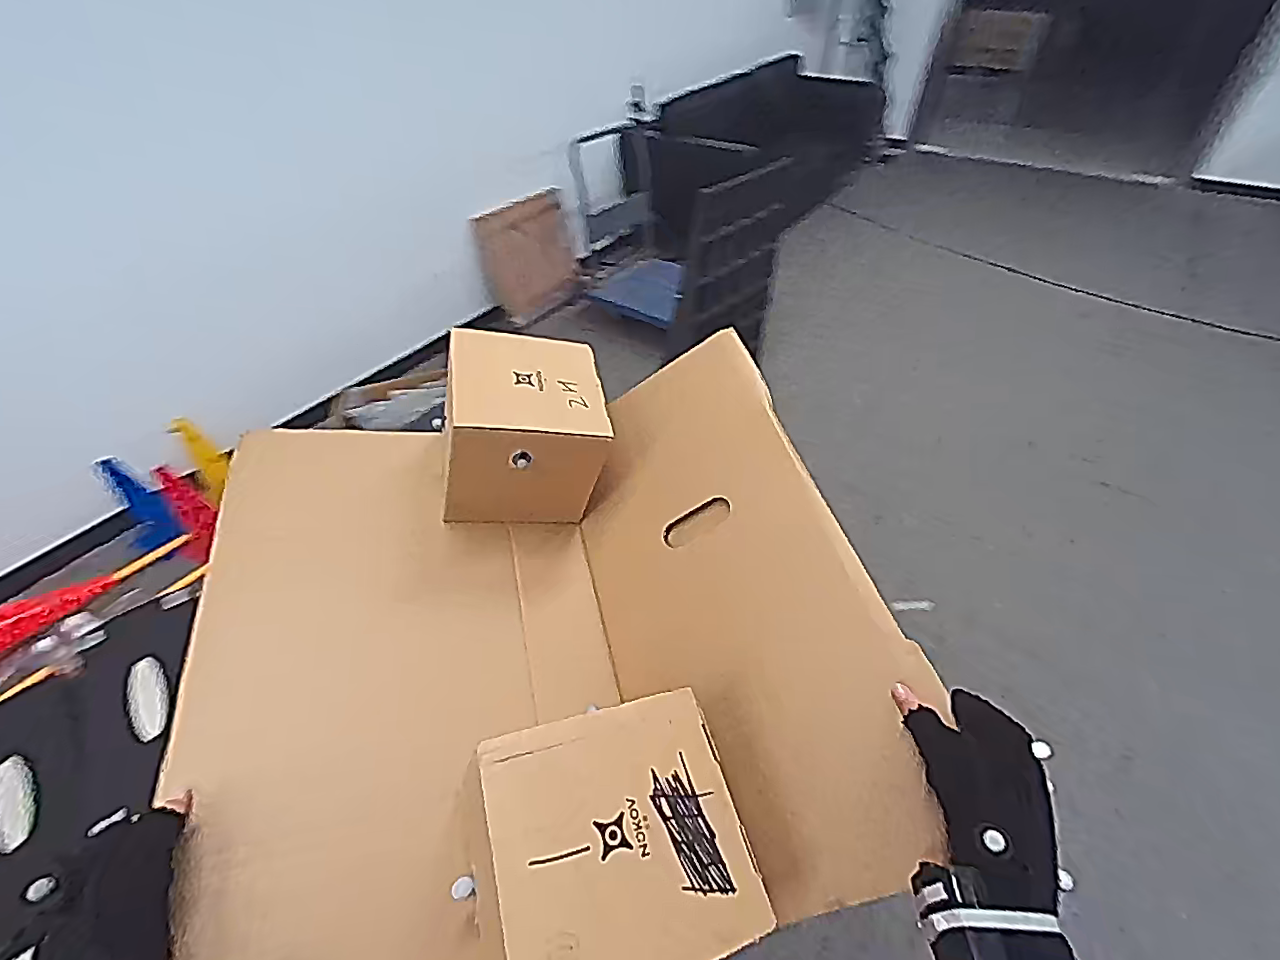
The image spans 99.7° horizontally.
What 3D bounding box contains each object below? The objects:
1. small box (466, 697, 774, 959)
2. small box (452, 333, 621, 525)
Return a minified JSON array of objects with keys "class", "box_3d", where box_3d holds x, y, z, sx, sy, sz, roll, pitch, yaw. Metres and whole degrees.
[{"class":"small box","box_3d":[-0.034,0.294,0.427,0.179,0.176,0.168,-3,54,-25]},{"class":"small box","box_3d":[-0.139,-0.056,0.682,0.179,0.176,0.168,4,50,-21]}]
